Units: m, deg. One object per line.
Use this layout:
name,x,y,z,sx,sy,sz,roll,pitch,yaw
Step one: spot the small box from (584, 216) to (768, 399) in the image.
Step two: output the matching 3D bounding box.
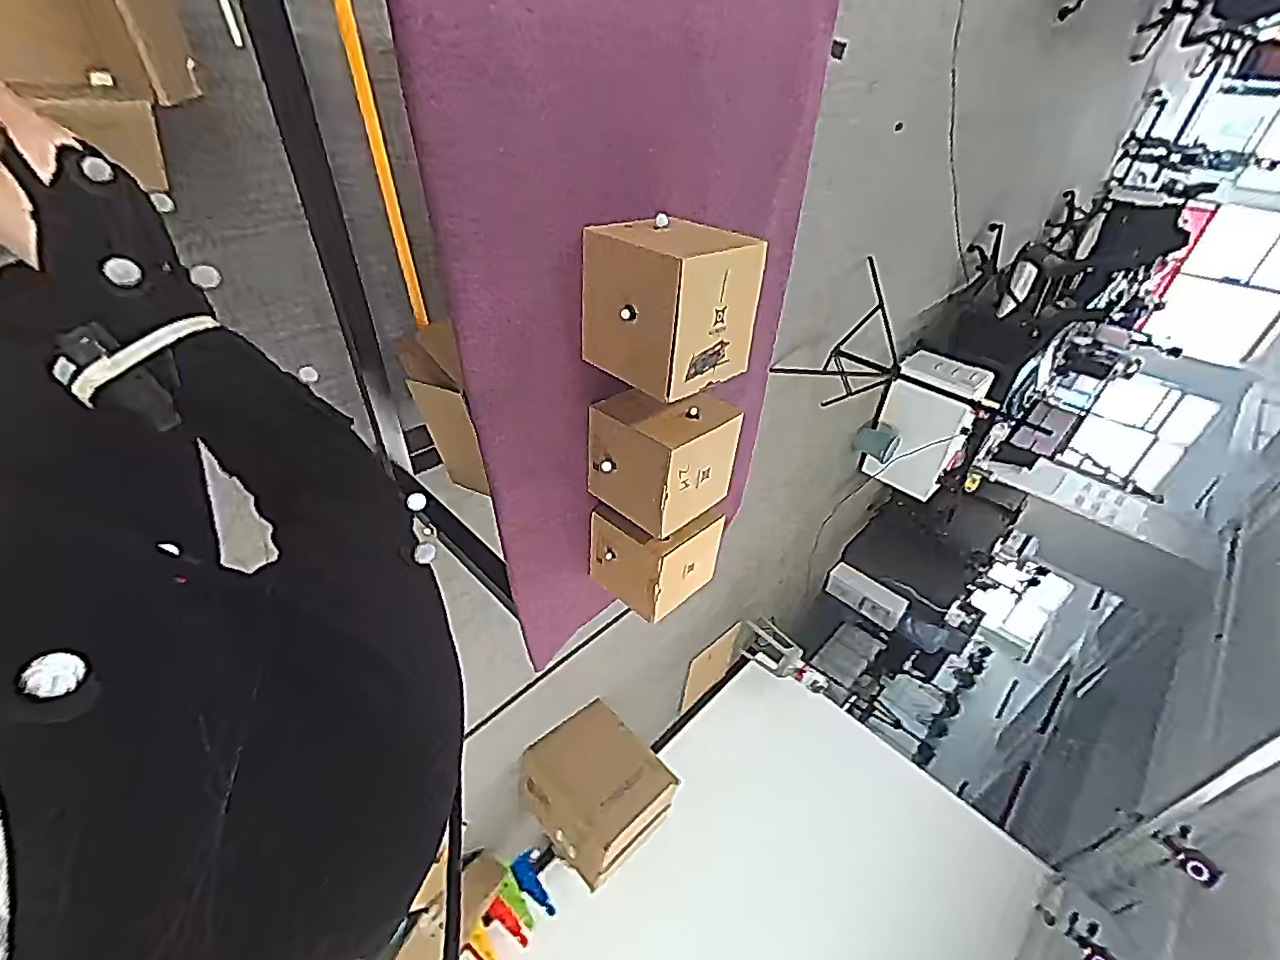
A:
small box,0.038,-0.234,0.714,0.168,0.176,0.179,-27,136,-37

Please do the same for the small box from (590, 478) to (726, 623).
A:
small box,0.029,0.120,0.999,0.179,0.176,0.168,-28,137,-38
